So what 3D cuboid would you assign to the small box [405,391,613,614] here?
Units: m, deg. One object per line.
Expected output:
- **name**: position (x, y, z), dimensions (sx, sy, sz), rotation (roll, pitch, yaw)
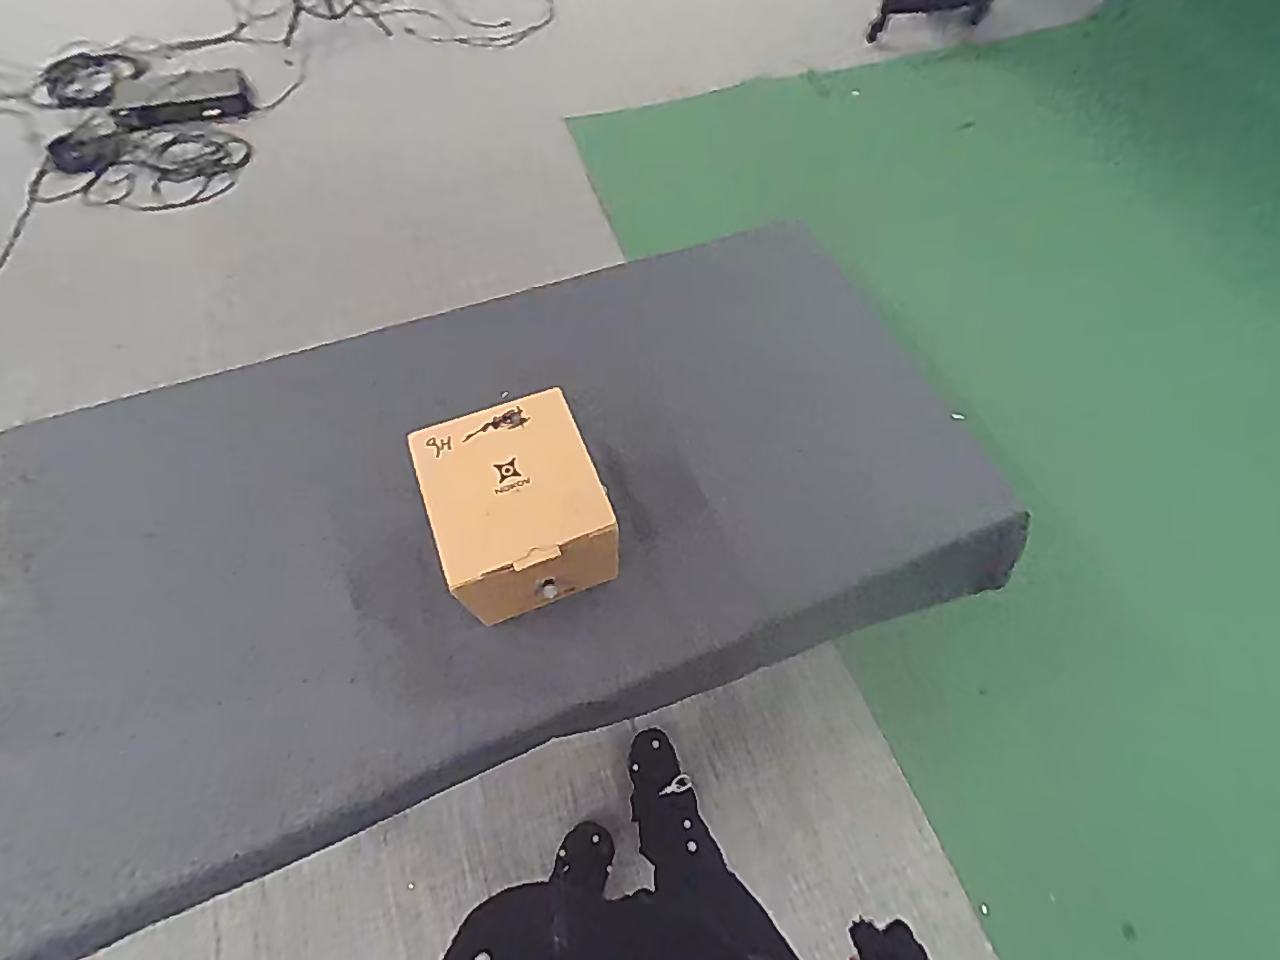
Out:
- **small box**: position (-0.134, 0.037, 0.607), dimensions (0.168, 0.176, 0.179), rotation (-21, 67, -11)
